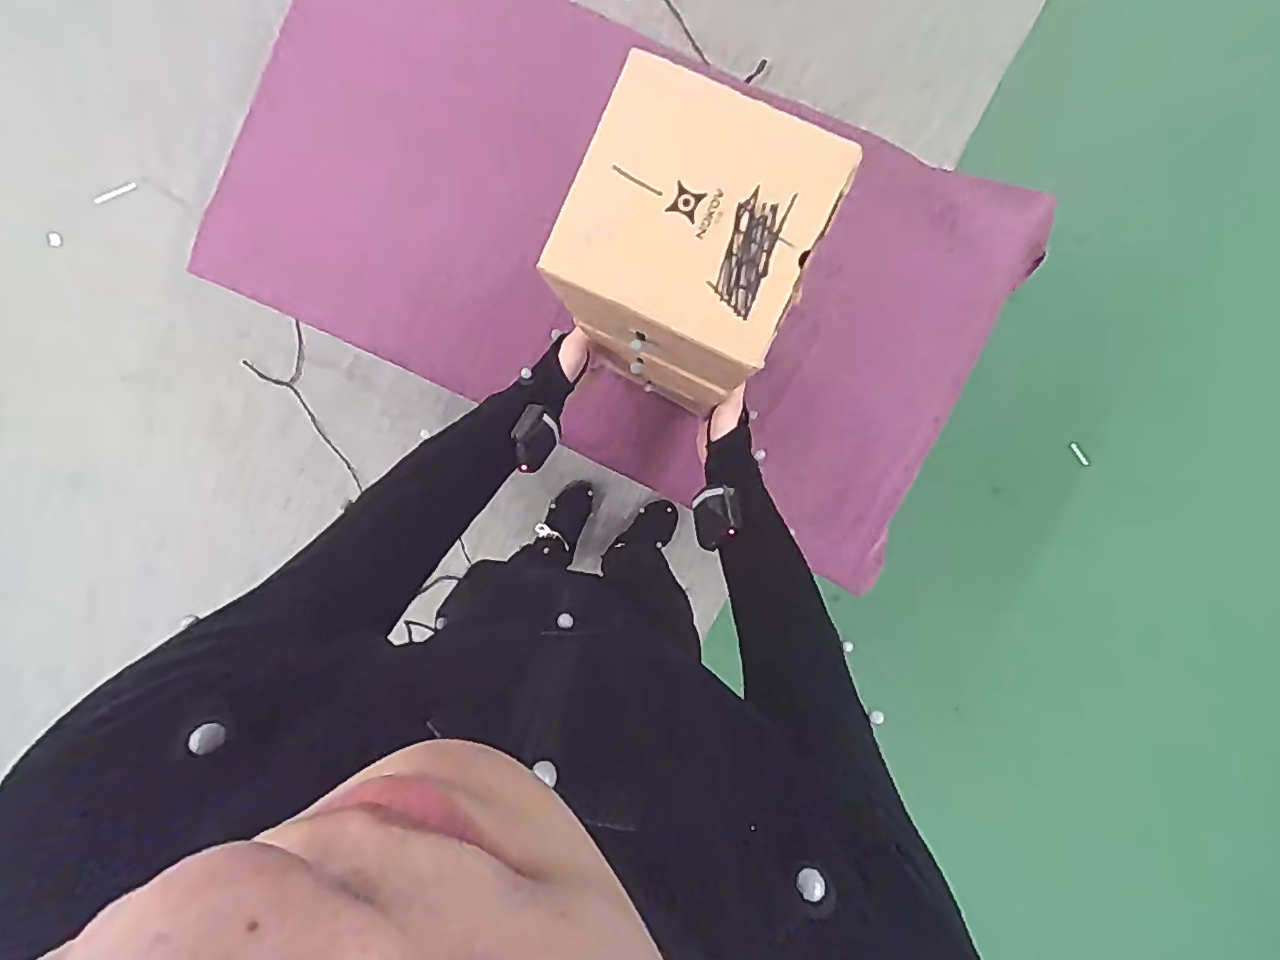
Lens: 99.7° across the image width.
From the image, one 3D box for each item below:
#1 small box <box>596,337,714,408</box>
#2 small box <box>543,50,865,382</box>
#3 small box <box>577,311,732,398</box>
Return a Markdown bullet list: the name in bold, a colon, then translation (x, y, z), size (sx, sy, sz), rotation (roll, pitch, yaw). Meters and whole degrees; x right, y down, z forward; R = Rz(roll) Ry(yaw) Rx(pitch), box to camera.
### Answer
- **small box**: translation (0.059, -0.213, 0.781), size (0.179, 0.176, 0.168), rotation (28, 95, 1)
- **small box**: translation (0.047, -0.192, 0.454), size (0.179, 0.176, 0.168), rotation (25, 95, 2)
- **small box**: translation (0.053, -0.203, 0.618), size (0.179, 0.176, 0.168), rotation (27, 96, 2)
